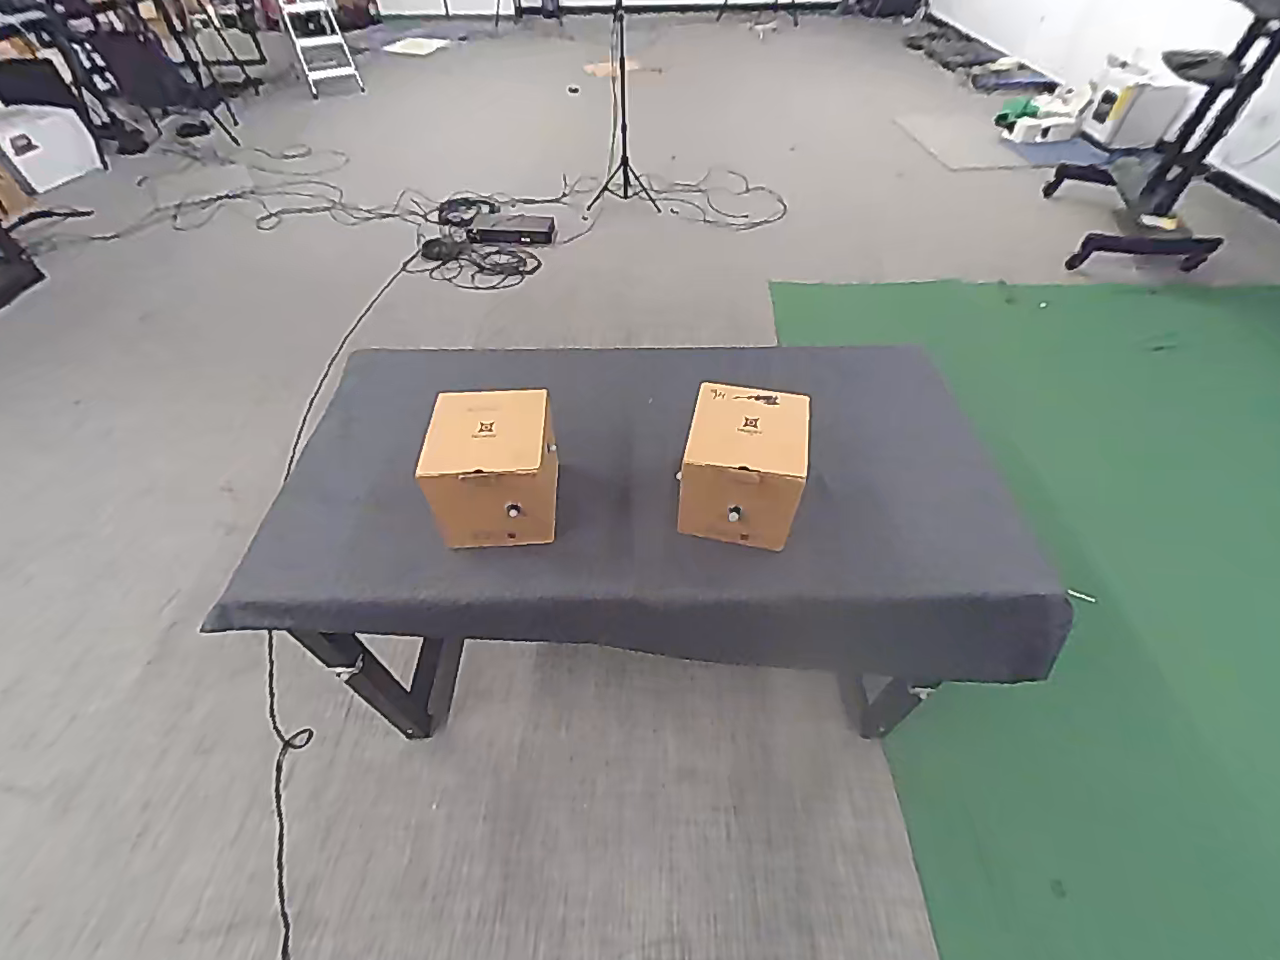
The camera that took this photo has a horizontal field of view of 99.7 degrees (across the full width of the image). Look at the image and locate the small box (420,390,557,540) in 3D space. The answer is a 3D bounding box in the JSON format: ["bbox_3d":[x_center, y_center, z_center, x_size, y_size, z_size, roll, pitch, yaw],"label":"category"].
[{"bbox_3d":[-0.220,-0.019,0.838,0.168,0.176,0.179,-2,46,-4],"label":"small box"}]

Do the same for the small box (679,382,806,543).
[{"bbox_3d":[0.154,-0.024,0.841,0.168,0.176,0.179,10,50,8],"label":"small box"}]
